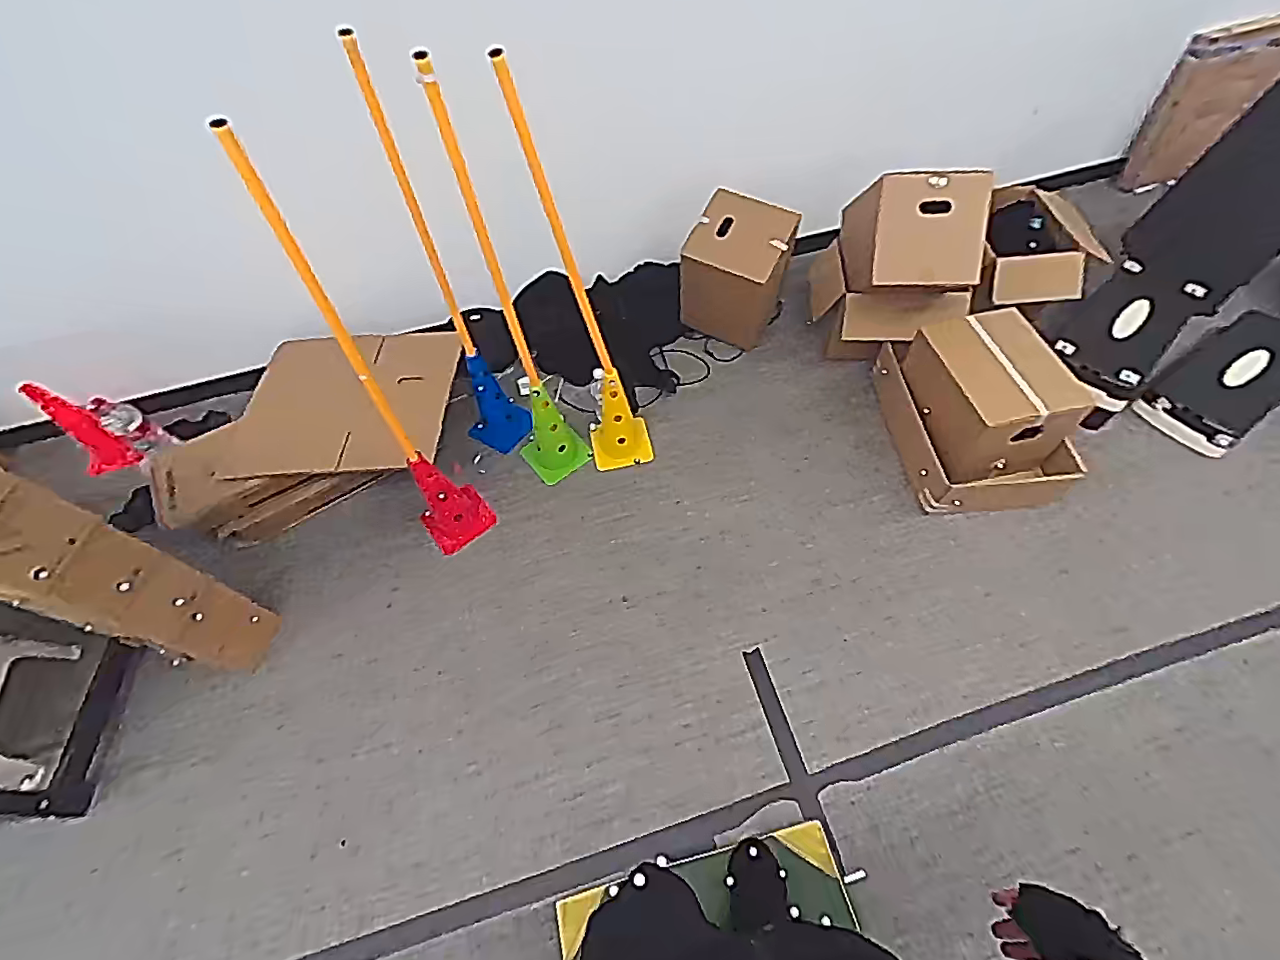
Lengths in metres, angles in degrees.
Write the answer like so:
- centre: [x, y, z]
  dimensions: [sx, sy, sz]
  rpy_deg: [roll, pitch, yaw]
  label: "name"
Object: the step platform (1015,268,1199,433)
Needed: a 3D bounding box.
- centre: [1.641, -0.470, 1.898]
  dimensions: [0.684, 0.204, 0.286]
  rpy_deg: [-41, 63, -20]
  label: "step platform"
